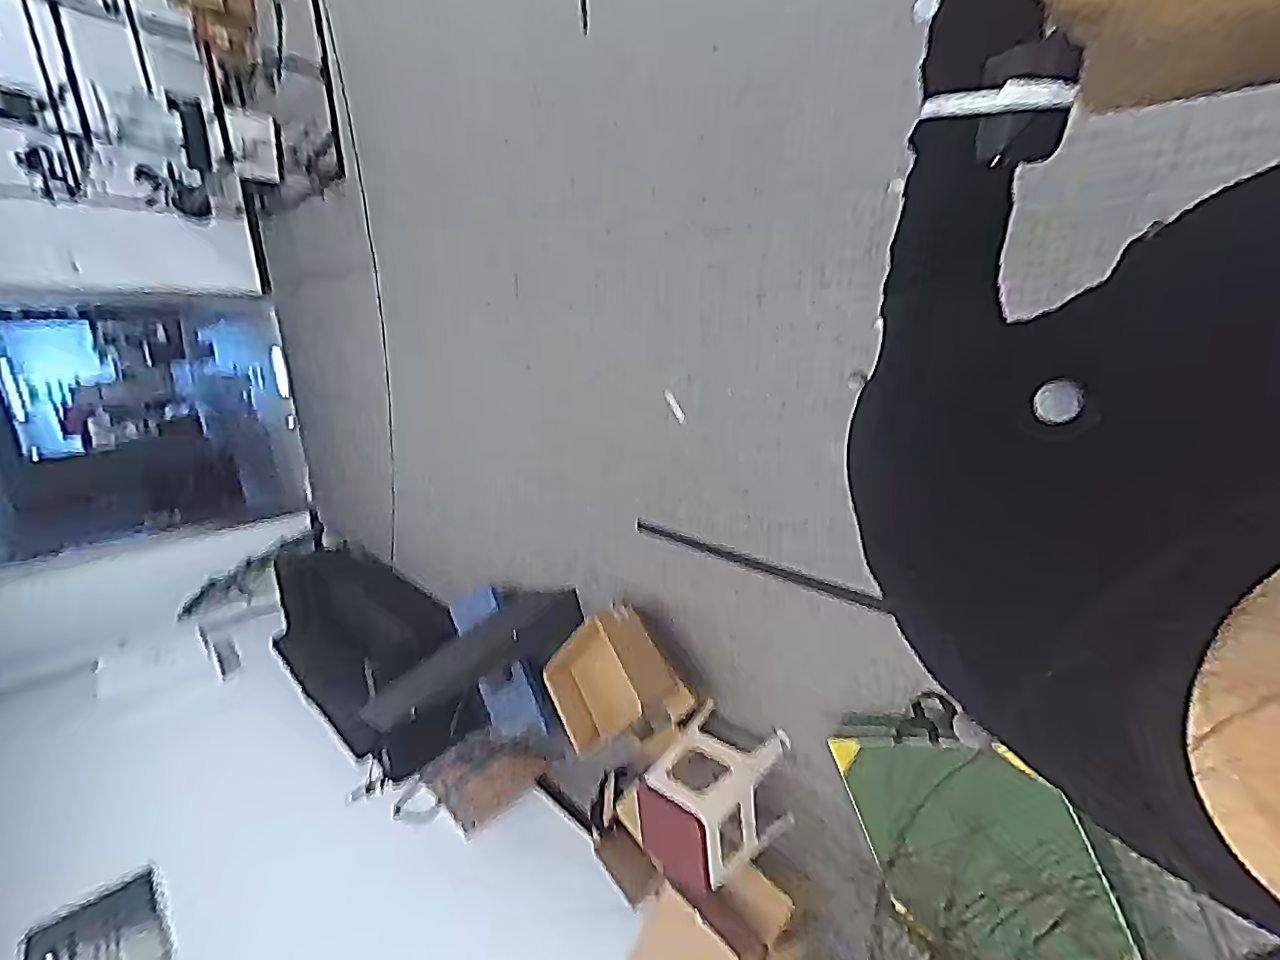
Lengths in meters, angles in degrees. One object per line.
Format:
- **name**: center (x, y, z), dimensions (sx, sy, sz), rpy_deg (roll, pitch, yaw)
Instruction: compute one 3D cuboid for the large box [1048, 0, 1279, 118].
- **large box**: center (0.487, -0.435, 0.267), dimensions (0.408, 0.320, 0.320), rpy_deg (15, 113, 39)
